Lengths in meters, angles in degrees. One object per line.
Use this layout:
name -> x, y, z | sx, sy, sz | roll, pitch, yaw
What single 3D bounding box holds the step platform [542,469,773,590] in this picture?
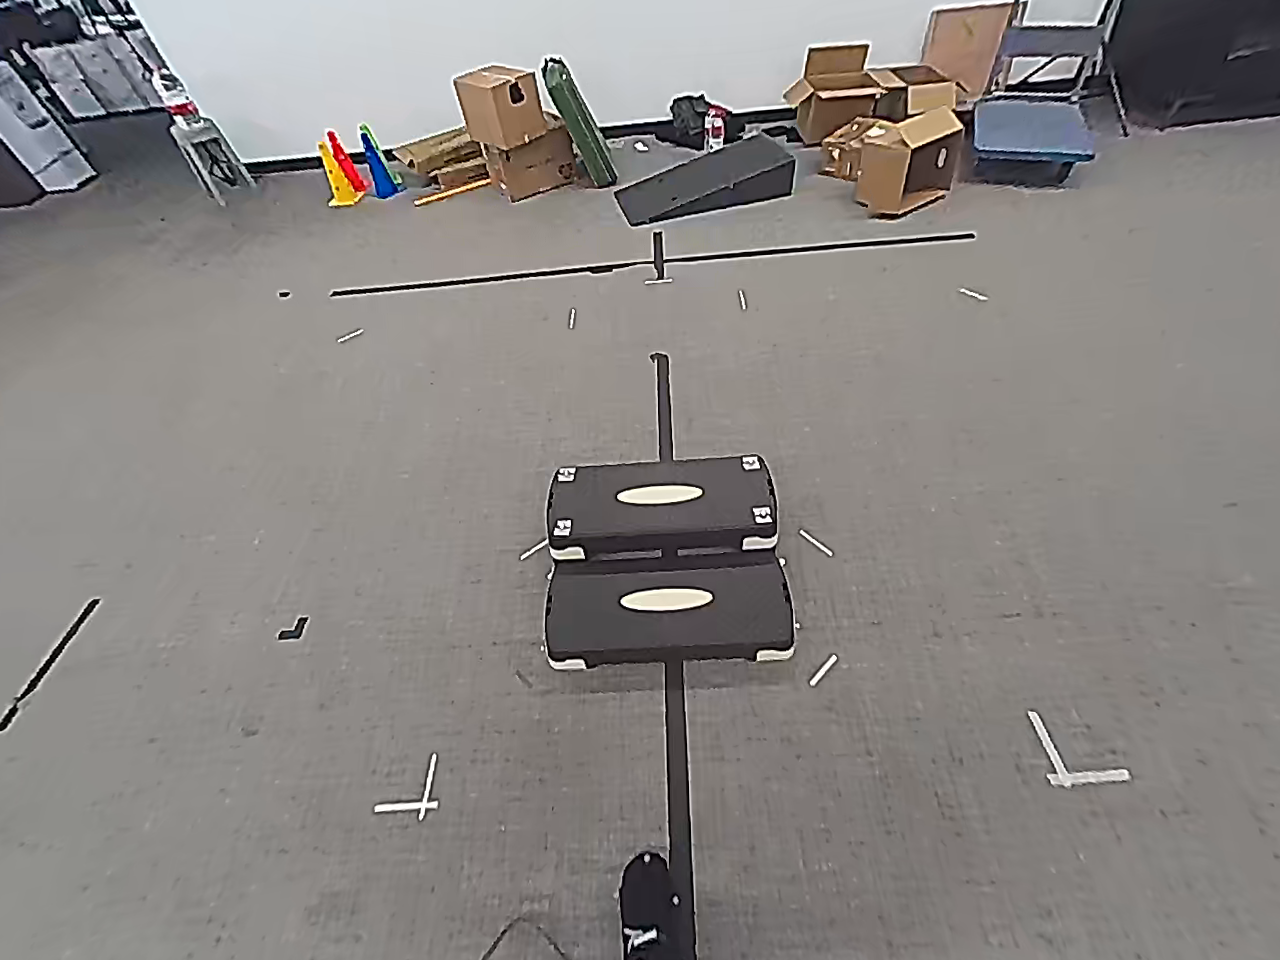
step platform -> 0.050, 0.144, 1.637 | 0.684, 0.204, 0.286 | -4, 50, 2
